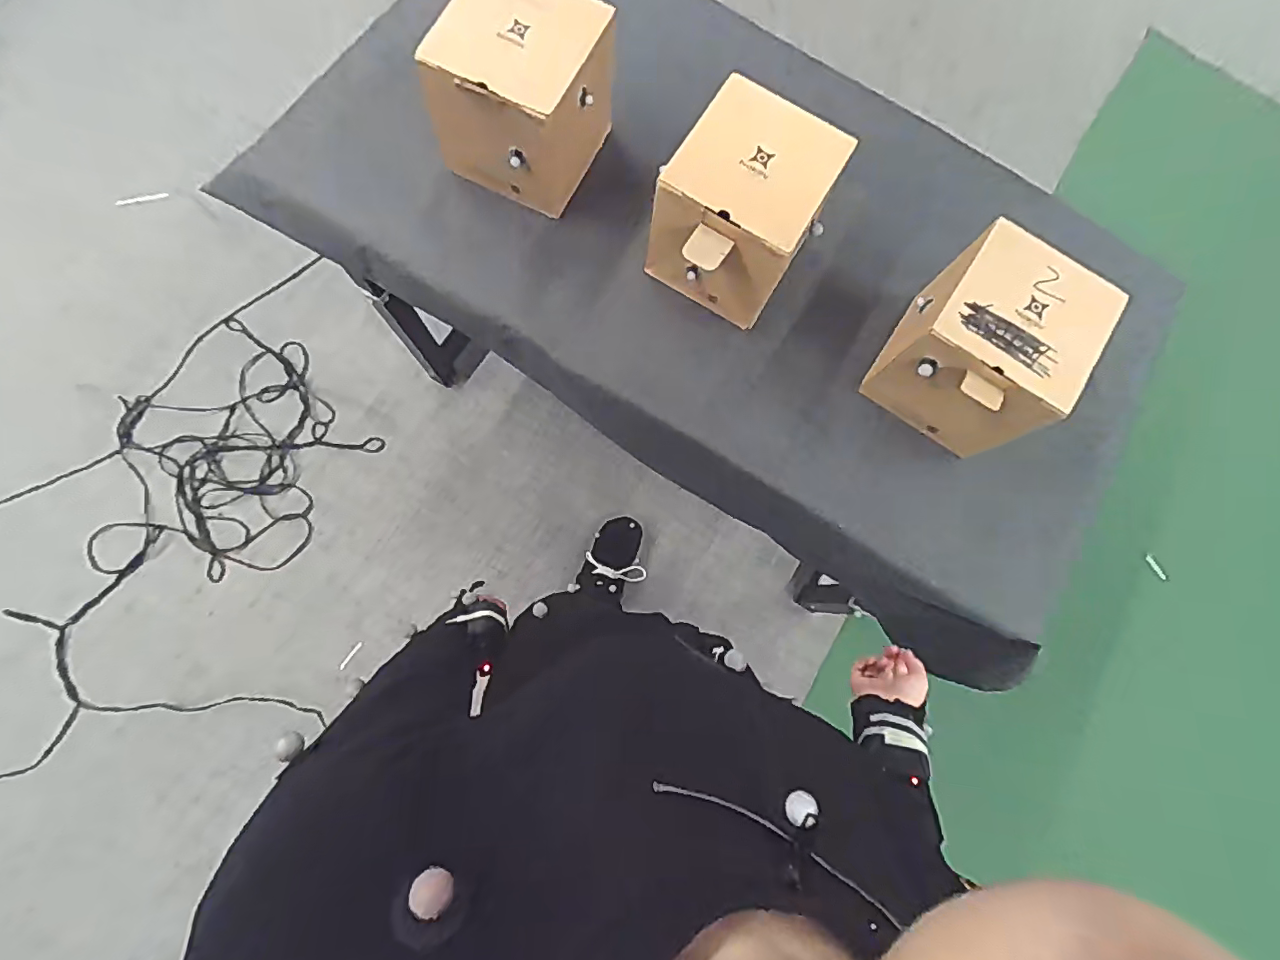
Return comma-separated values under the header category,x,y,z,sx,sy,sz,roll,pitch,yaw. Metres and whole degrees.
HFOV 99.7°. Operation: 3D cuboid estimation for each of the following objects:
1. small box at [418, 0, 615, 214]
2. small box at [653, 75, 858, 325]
category,x,y,z,sx,sy,sz,roll,pitch,yaw
small box,-0.142,-0.481,0.684,0.168,0.176,0.179,25,76,0
small box,0.128,-0.332,0.670,0.168,0.176,0.179,31,78,3
